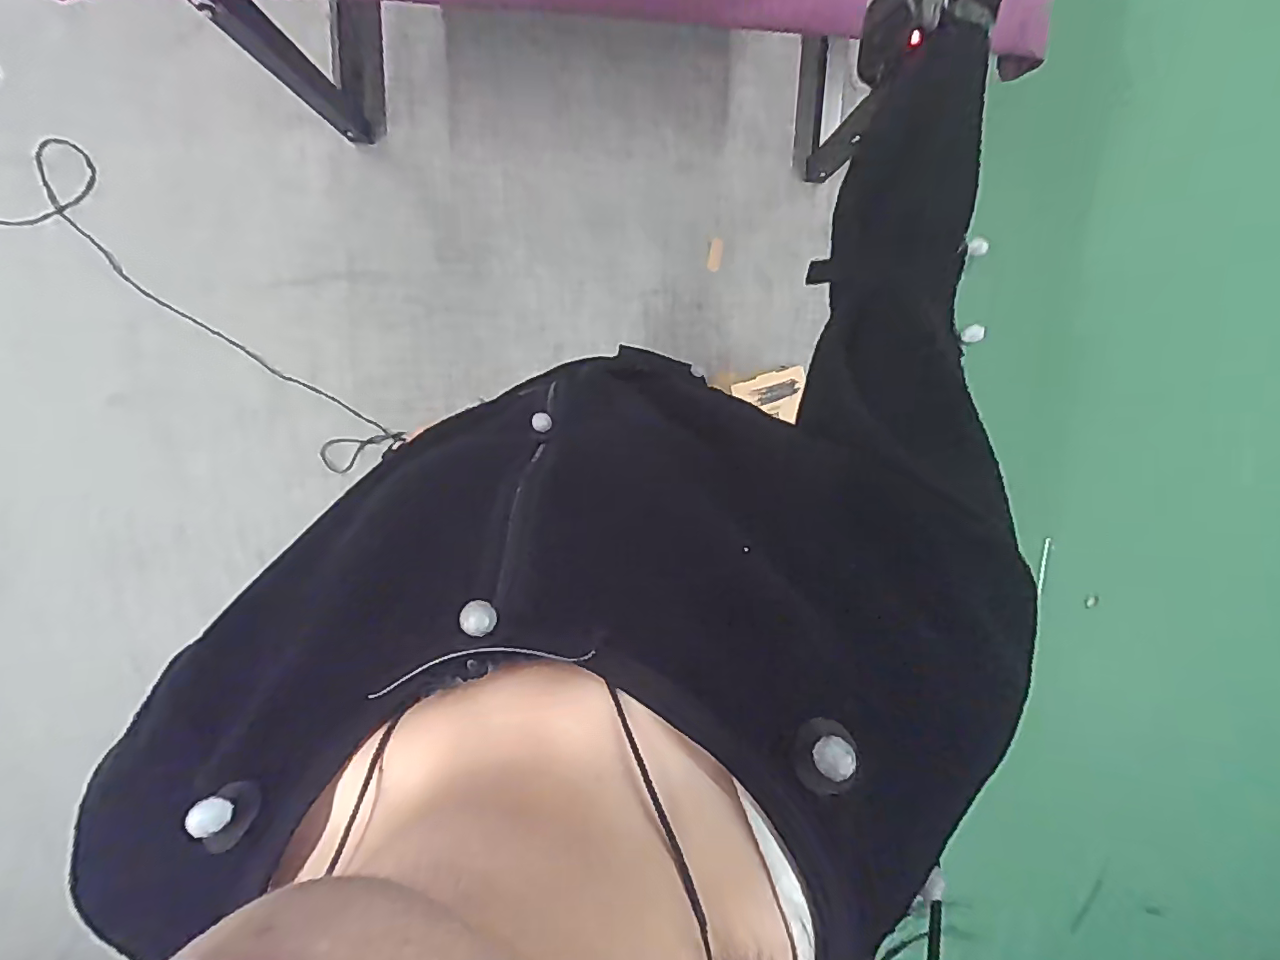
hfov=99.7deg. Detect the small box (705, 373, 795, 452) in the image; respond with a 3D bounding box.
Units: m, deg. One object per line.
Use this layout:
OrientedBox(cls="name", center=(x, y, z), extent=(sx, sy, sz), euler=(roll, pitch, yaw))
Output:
OrientedBox(cls="small box", center=(0.279, -0.180, 1.418), extent=(0.179, 0.176, 0.168), euler=(12, 101, -5))
